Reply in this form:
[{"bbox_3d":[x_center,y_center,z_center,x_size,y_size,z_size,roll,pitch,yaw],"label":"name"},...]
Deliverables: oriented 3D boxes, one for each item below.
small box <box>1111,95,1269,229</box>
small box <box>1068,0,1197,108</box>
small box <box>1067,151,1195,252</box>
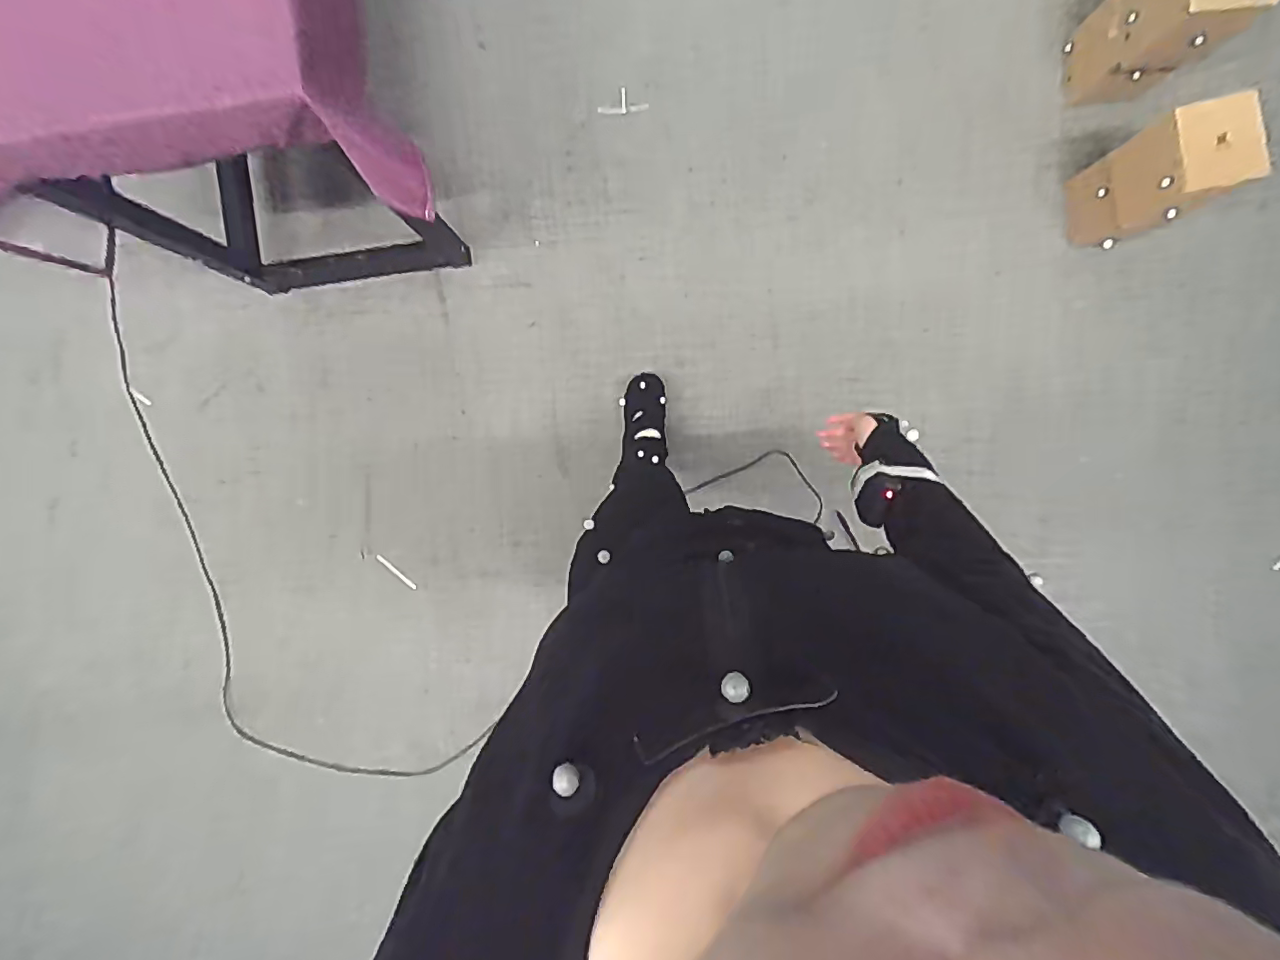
[{"bbox_3d":[1.175,-0.678,1.171,0.168,0.176,0.179,-12,92,3],"label":"small box"},{"bbox_3d":[1.185,-1.042,1.317,0.179,0.176,0.168,-4,93,2],"label":"small box"},{"bbox_3d":[1.197,-0.689,1.332,0.168,0.176,0.179,-6,92,4],"label":"small box"}]
